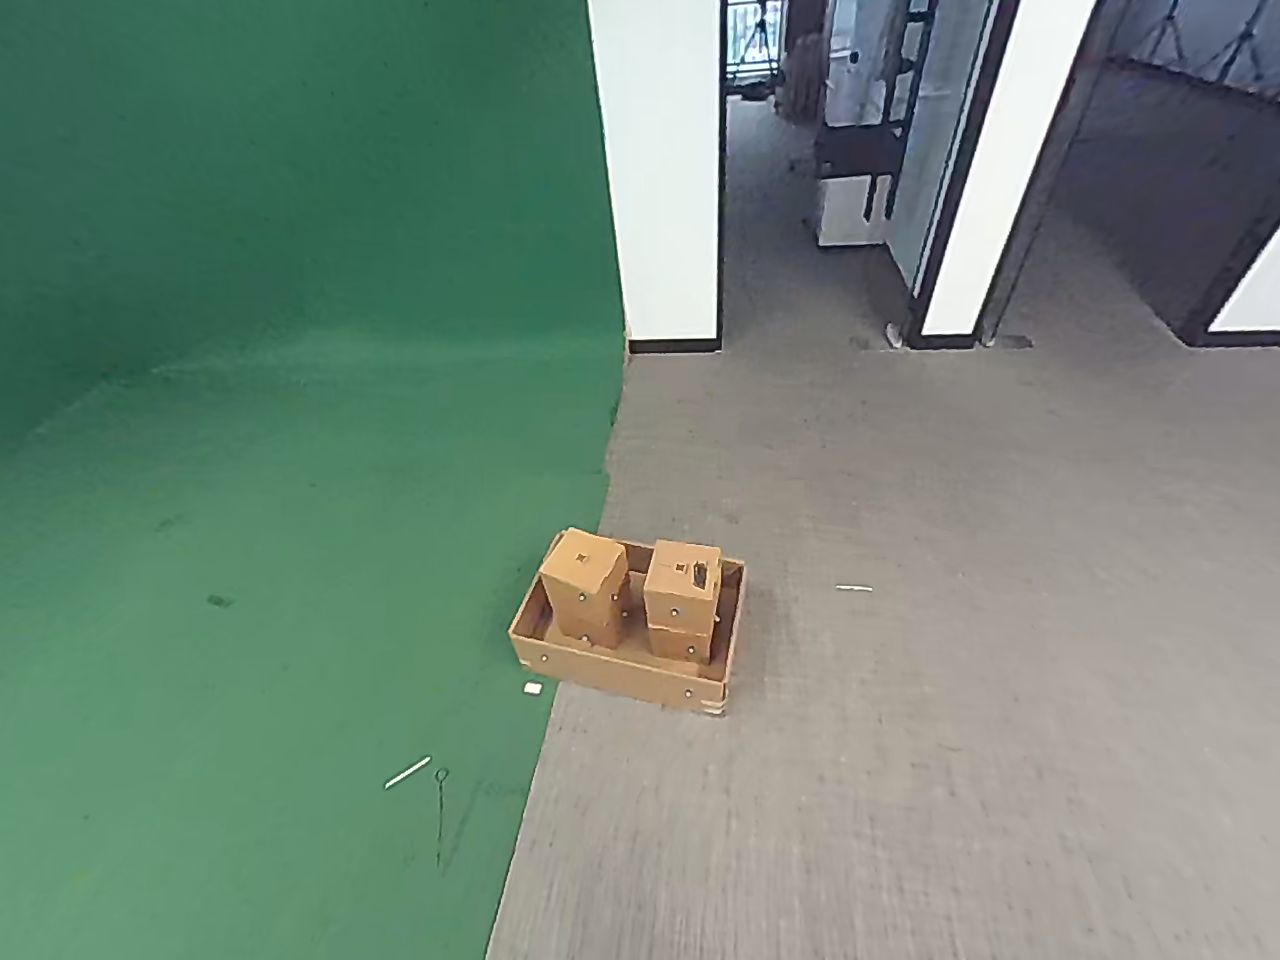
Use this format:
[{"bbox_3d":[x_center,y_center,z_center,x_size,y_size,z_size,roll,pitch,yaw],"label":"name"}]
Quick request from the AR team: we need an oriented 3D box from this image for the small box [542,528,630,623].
[{"bbox_3d":[-0.143,0.266,1.489,0.179,0.176,0.168,17,49,20],"label":"small box"}]

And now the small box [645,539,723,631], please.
[{"bbox_3d":[0.123,0.280,1.435,0.179,0.176,0.168,5,46,15],"label":"small box"}]
